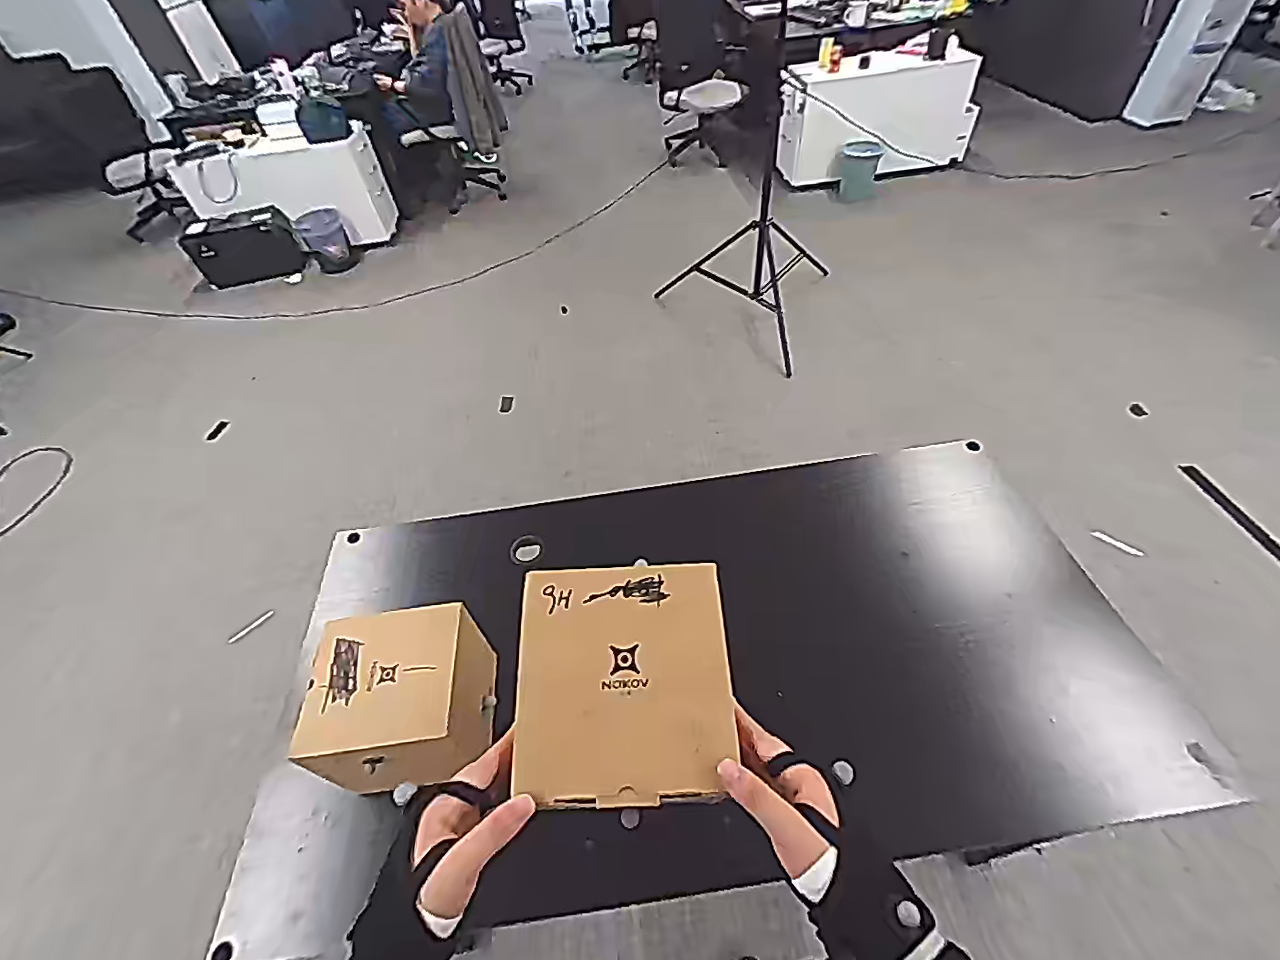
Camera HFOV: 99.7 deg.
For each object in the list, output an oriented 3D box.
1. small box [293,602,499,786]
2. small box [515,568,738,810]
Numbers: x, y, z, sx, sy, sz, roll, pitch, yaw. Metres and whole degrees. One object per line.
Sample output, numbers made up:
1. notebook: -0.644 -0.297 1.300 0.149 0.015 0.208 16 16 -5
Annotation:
1. small box: -0.295 0.280 0.699 0.179 0.176 0.168 -7 49 -2
2. small box: -0.010 0.194 0.496 0.168 0.176 0.179 -3 60 -1
